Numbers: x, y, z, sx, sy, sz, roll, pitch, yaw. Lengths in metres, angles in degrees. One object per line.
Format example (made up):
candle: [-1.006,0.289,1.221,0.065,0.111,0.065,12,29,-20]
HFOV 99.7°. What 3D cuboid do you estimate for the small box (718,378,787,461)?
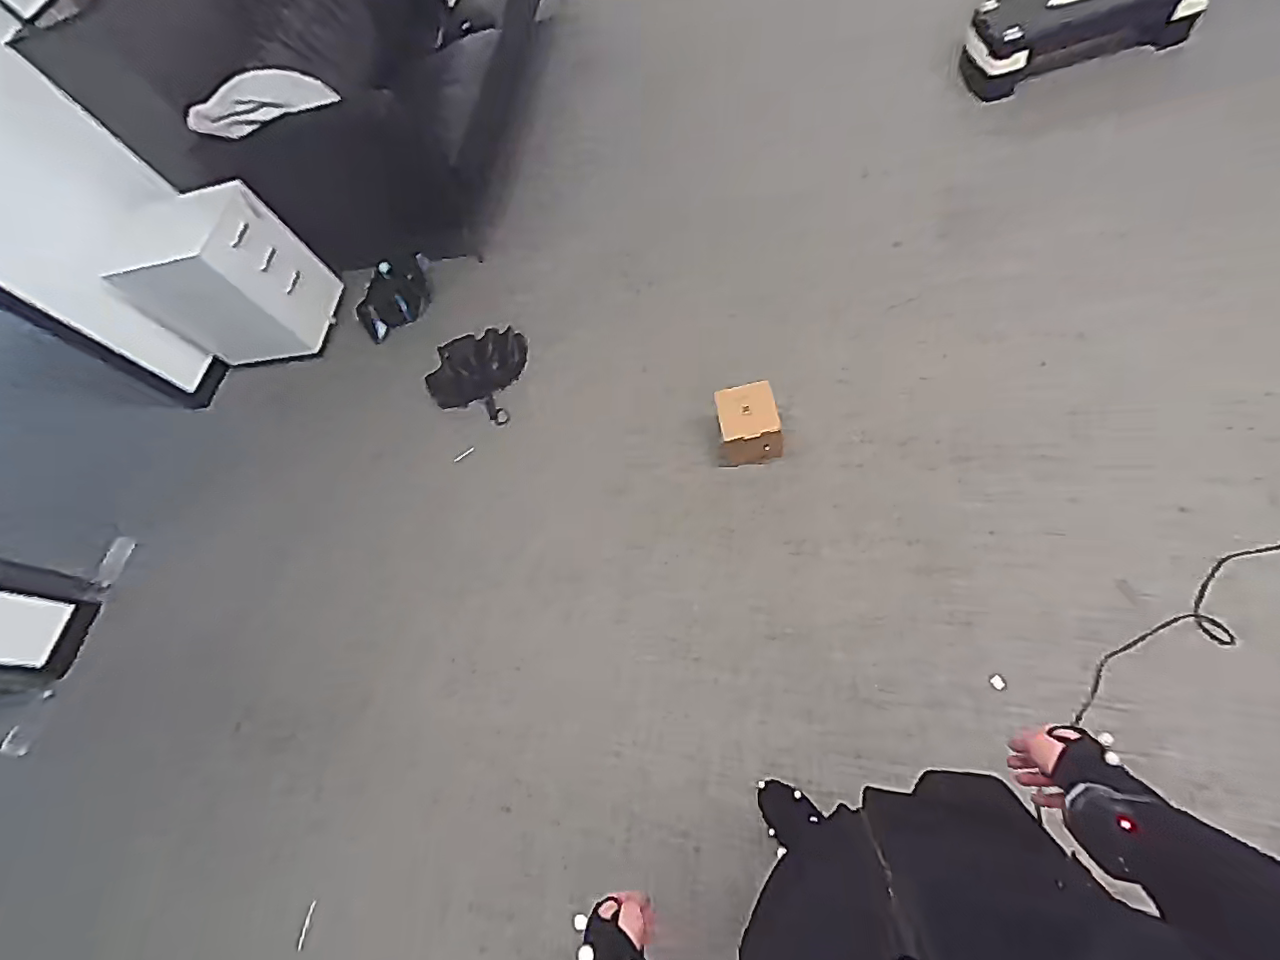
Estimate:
small box: [0.338,-0.171,1.619,0.168,0.176,0.179,-13,61,11]
